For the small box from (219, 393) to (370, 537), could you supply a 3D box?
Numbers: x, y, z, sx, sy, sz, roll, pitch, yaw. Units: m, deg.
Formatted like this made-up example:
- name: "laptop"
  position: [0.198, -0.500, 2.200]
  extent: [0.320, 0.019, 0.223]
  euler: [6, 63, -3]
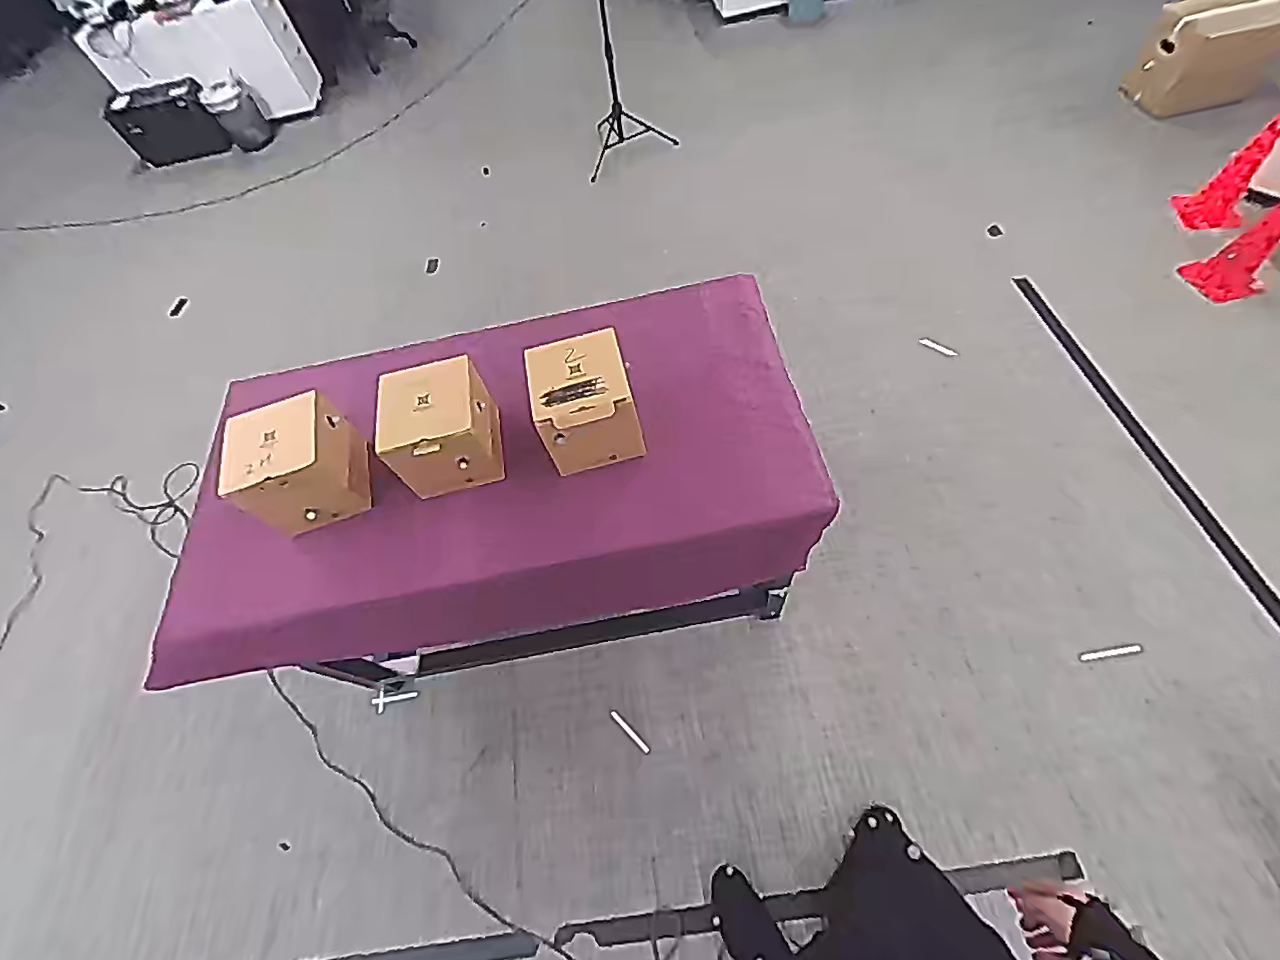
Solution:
- name: "small box"
  position: [-0.622, -0.023, 0.994]
  extent: [0.168, 0.176, 0.179]
  euler: [-20, 60, -2]

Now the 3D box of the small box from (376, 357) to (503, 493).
- name: "small box"
  position: [-0.361, -0.091, 0.996]
  extent: [0.168, 0.176, 0.179]
  euler: [-13, 59, 0]
